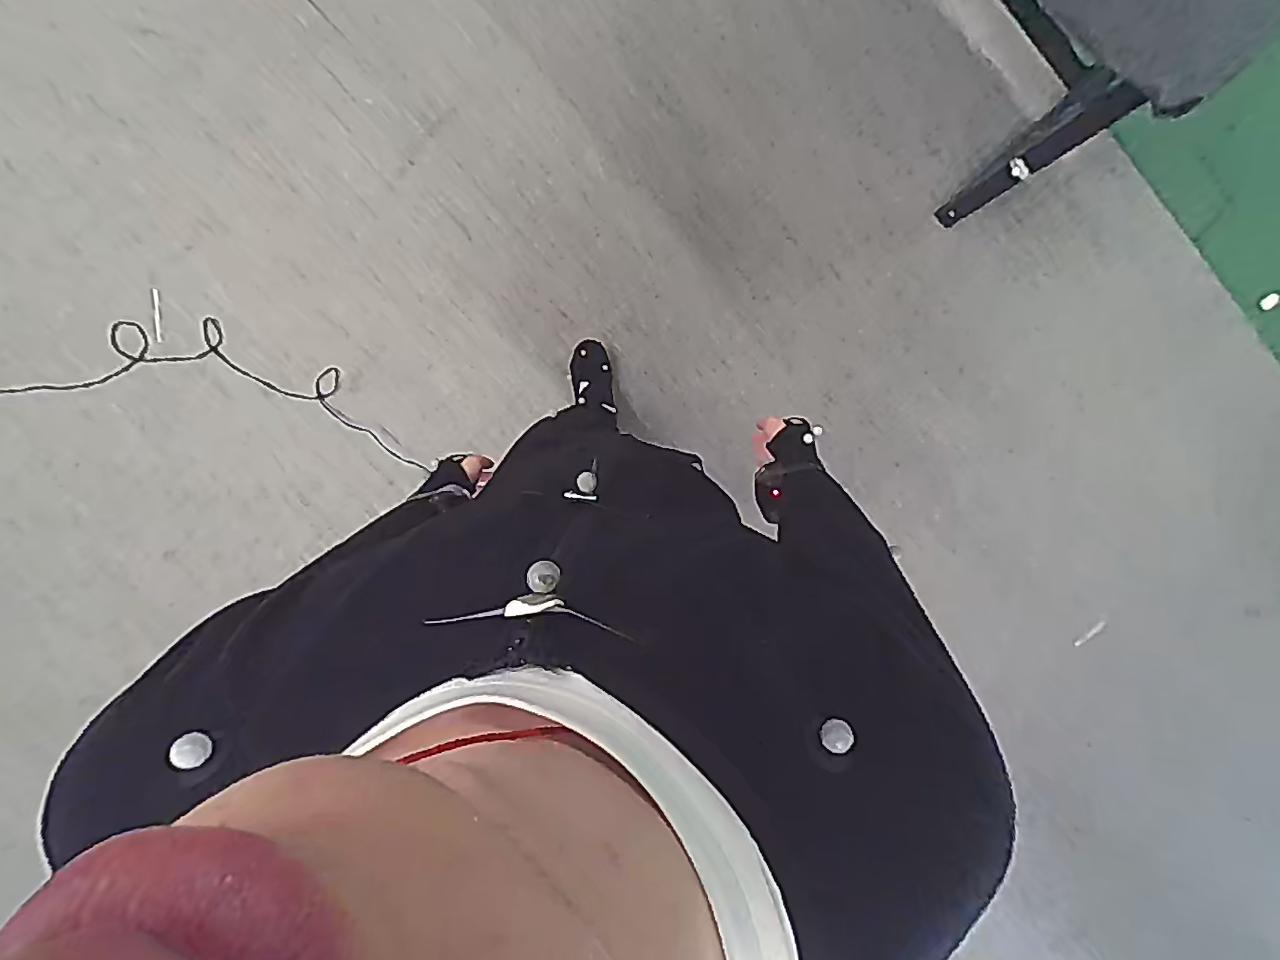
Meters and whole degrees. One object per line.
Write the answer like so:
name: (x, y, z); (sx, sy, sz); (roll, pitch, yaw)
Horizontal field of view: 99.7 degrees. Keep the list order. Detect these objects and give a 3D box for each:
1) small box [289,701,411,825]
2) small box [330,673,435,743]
small box: (-0.714, 0.701, 1.356); (0.179, 0.176, 0.168); (-40, 99, 4)
small box: (-0.725, 0.681, 1.541); (0.168, 0.176, 0.179); (-44, 97, 3)
